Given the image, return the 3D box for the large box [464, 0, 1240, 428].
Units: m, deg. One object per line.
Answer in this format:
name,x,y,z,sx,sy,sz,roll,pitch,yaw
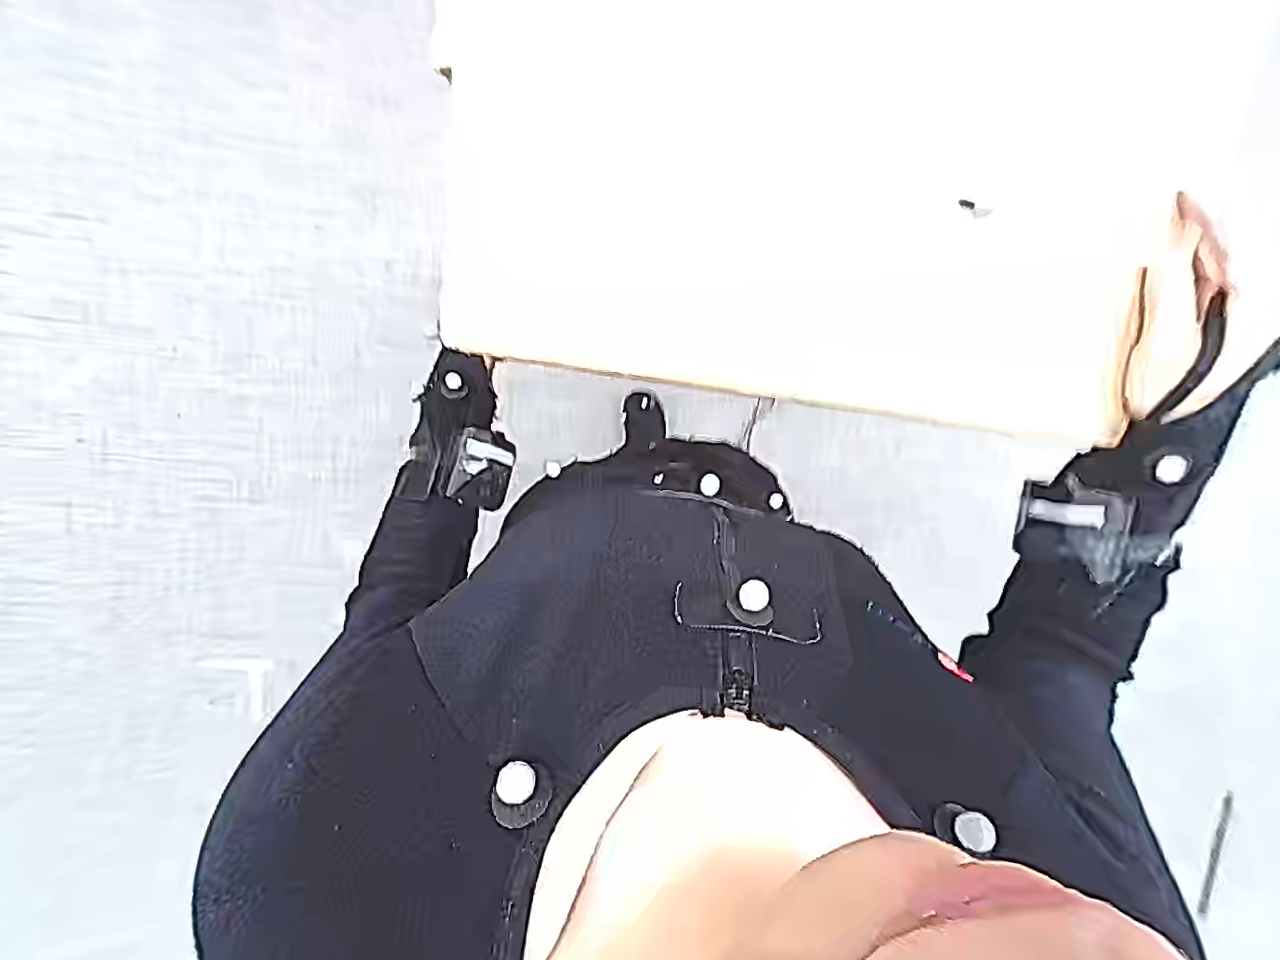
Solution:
large box,0.098,-0.234,0.428,0.408,0.320,0.320,6,104,-9
